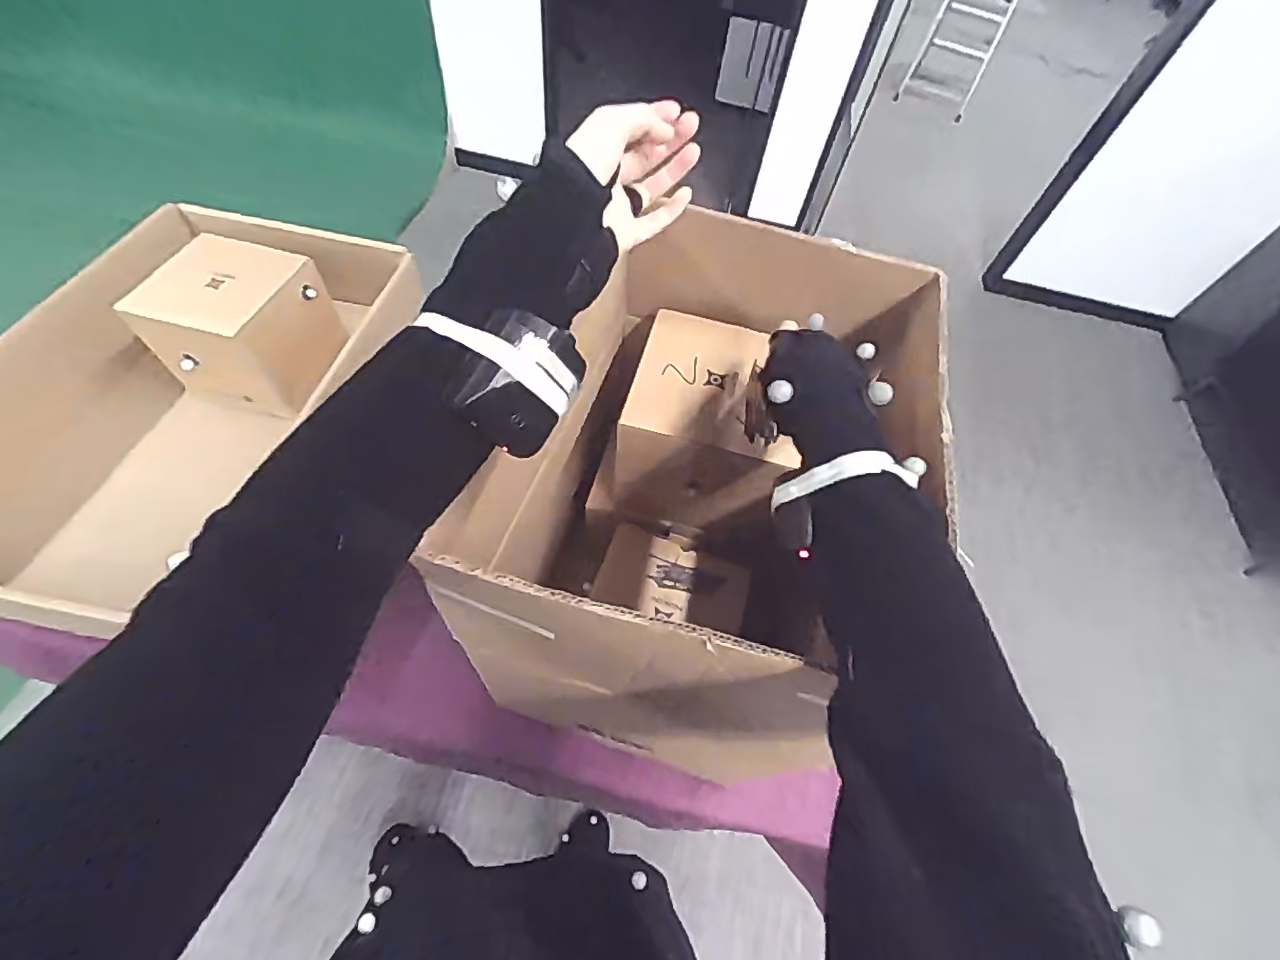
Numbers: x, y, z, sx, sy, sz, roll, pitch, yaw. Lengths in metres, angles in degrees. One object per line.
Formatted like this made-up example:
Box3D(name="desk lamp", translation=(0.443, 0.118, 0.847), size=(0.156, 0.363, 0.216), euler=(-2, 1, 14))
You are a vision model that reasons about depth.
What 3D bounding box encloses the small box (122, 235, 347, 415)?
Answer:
Box3D(name="small box", translation=(-0.569, -0.221, 0.794), size=(0.168, 0.176, 0.179), euler=(14, 57, 3))
